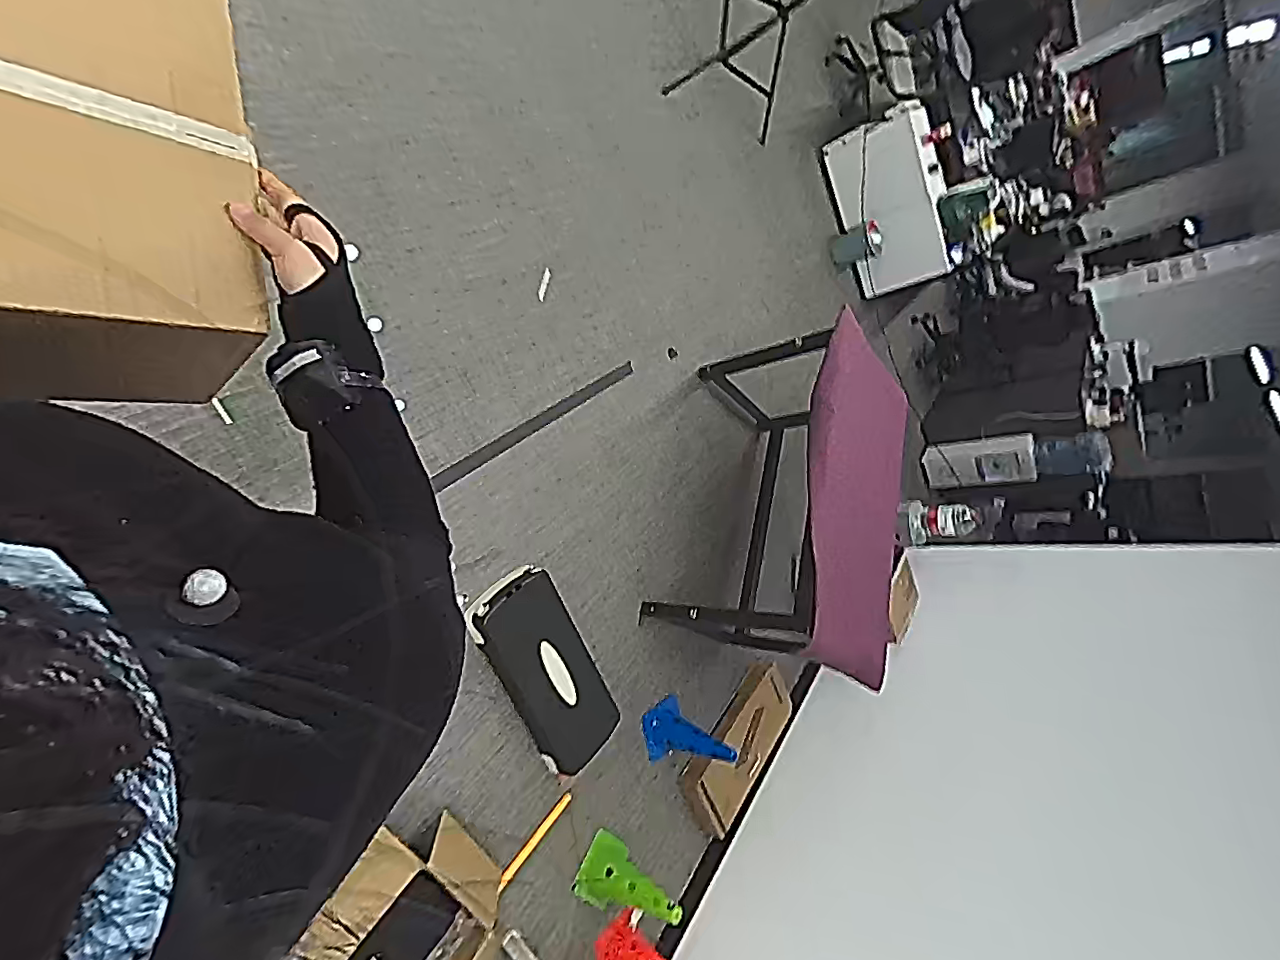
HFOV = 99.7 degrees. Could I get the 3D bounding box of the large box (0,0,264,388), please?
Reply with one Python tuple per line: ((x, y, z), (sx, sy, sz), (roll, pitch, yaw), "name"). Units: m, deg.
((-0.592, -0.255, 0.431), (0.408, 0.320, 0.320), (-9, 90, -47), "large box")
